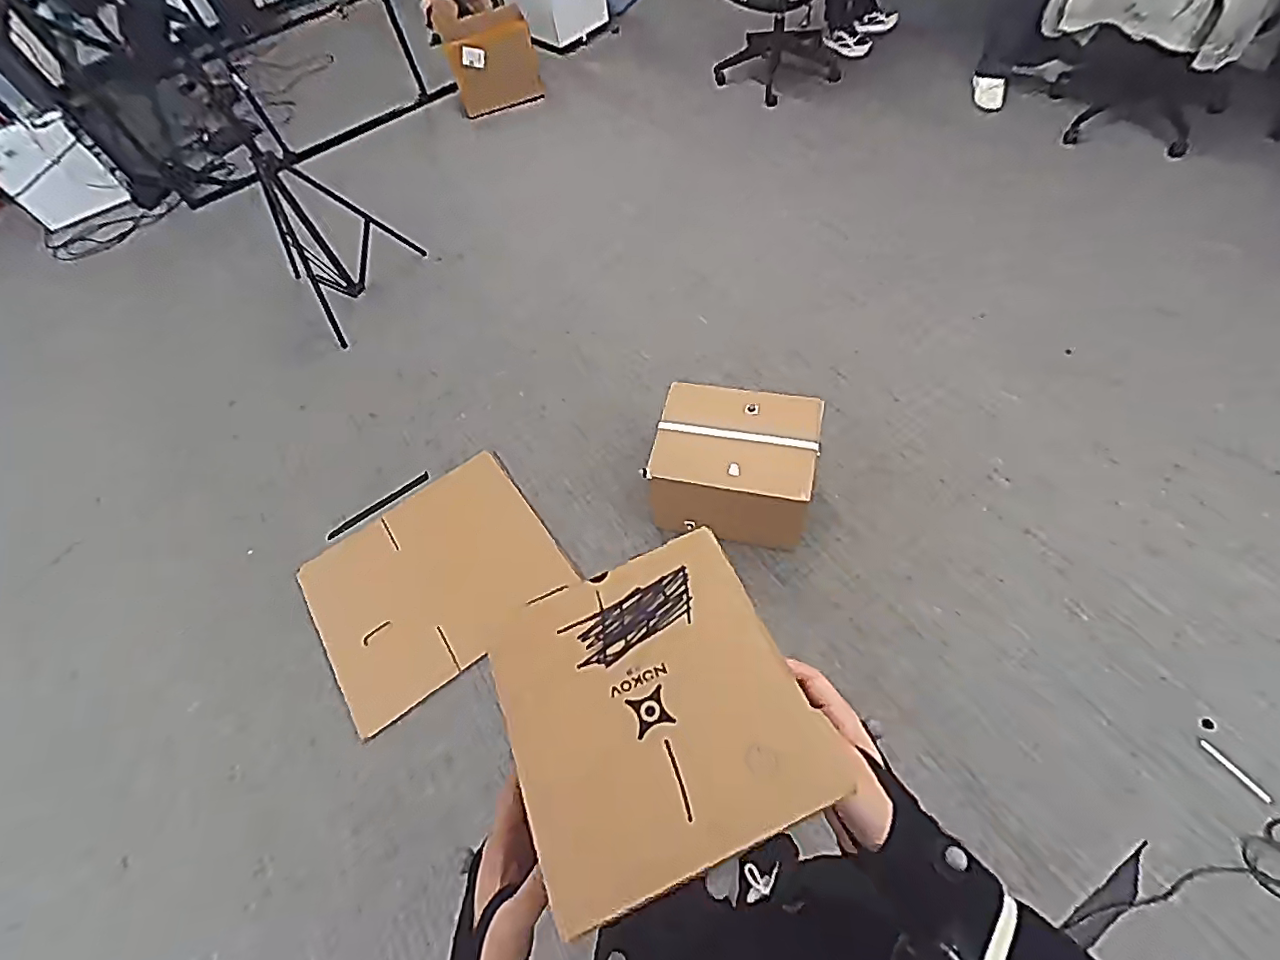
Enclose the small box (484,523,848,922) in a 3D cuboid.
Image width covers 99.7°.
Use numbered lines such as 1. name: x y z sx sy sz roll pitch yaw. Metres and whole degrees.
1. small box: 0.012 0.166 0.380 0.168 0.176 0.179 -23 56 -6
